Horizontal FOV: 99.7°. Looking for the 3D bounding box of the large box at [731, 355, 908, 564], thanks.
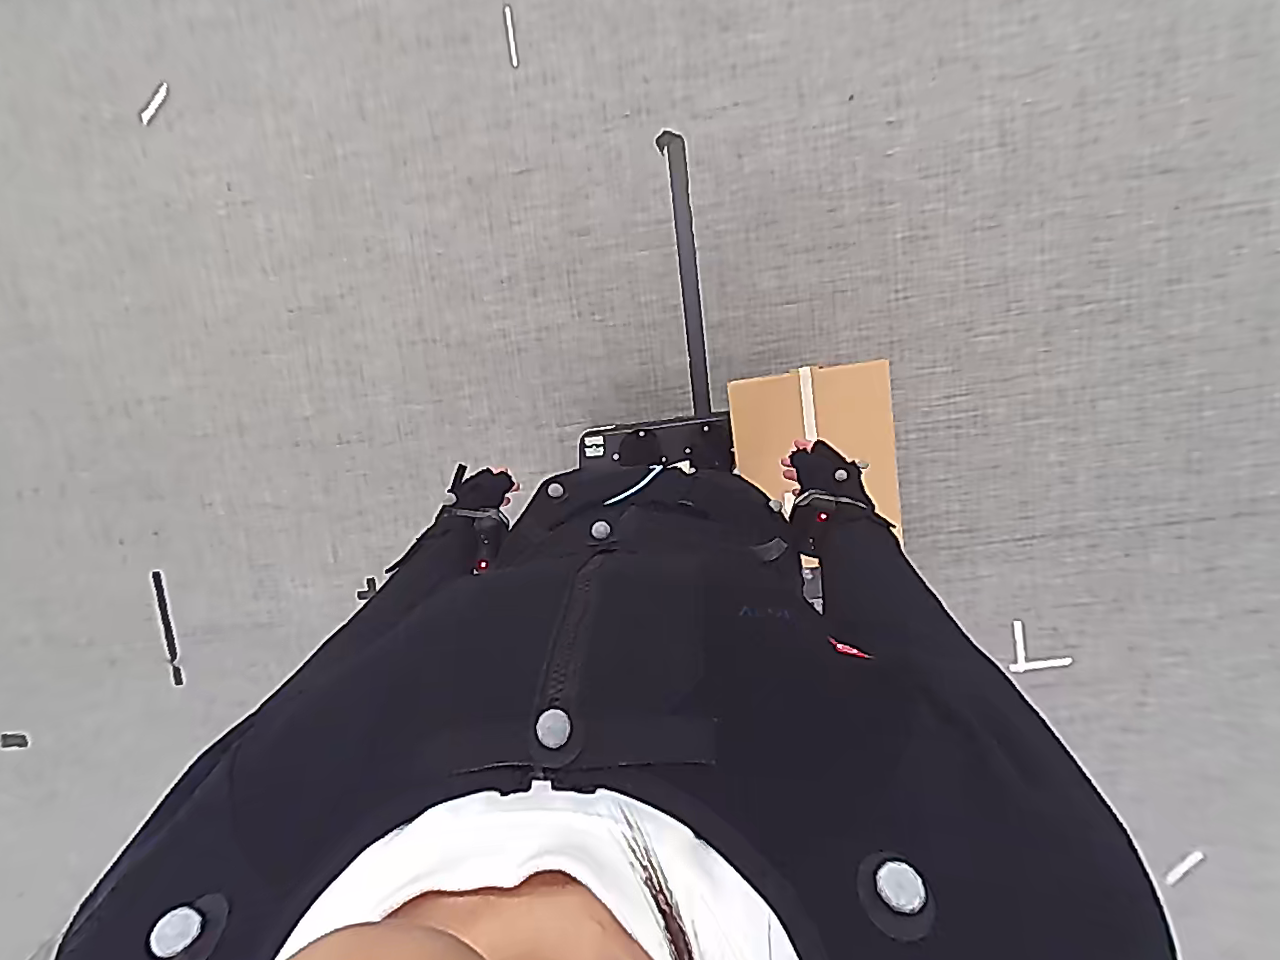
[{"bbox_3d":[0.394,-0.057,1.245,0.320,0.320,0.408,-6,99,13],"label":"large box"}]
